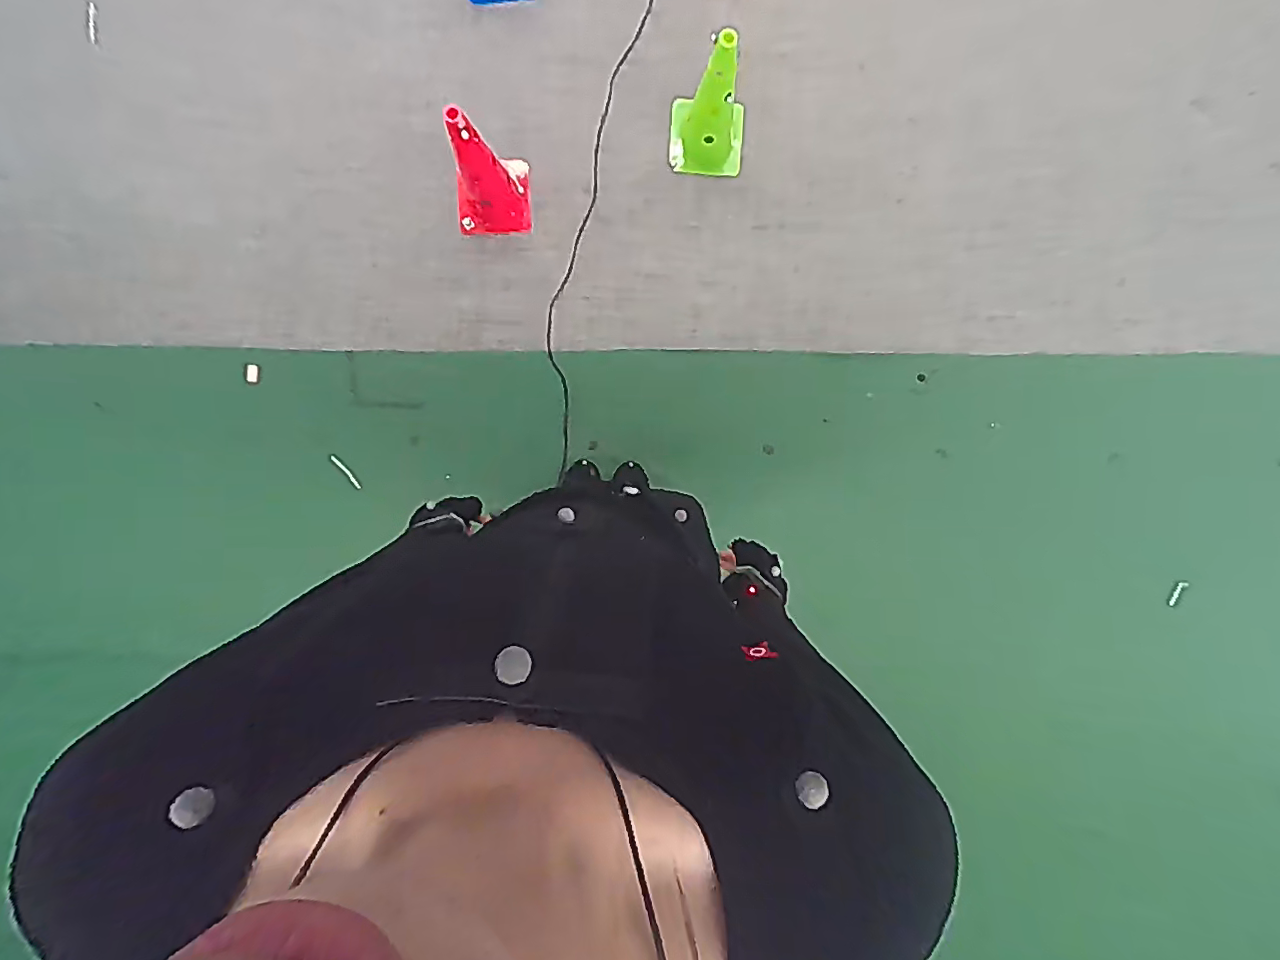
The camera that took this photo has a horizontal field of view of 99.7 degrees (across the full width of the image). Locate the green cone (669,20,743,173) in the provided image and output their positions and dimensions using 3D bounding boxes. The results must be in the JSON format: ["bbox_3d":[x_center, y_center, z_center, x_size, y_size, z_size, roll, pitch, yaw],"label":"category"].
[{"bbox_3d":[0.187,-0.951,1.324,0.200,0.368,0.202,3,90,-1],"label":"green cone"}]
